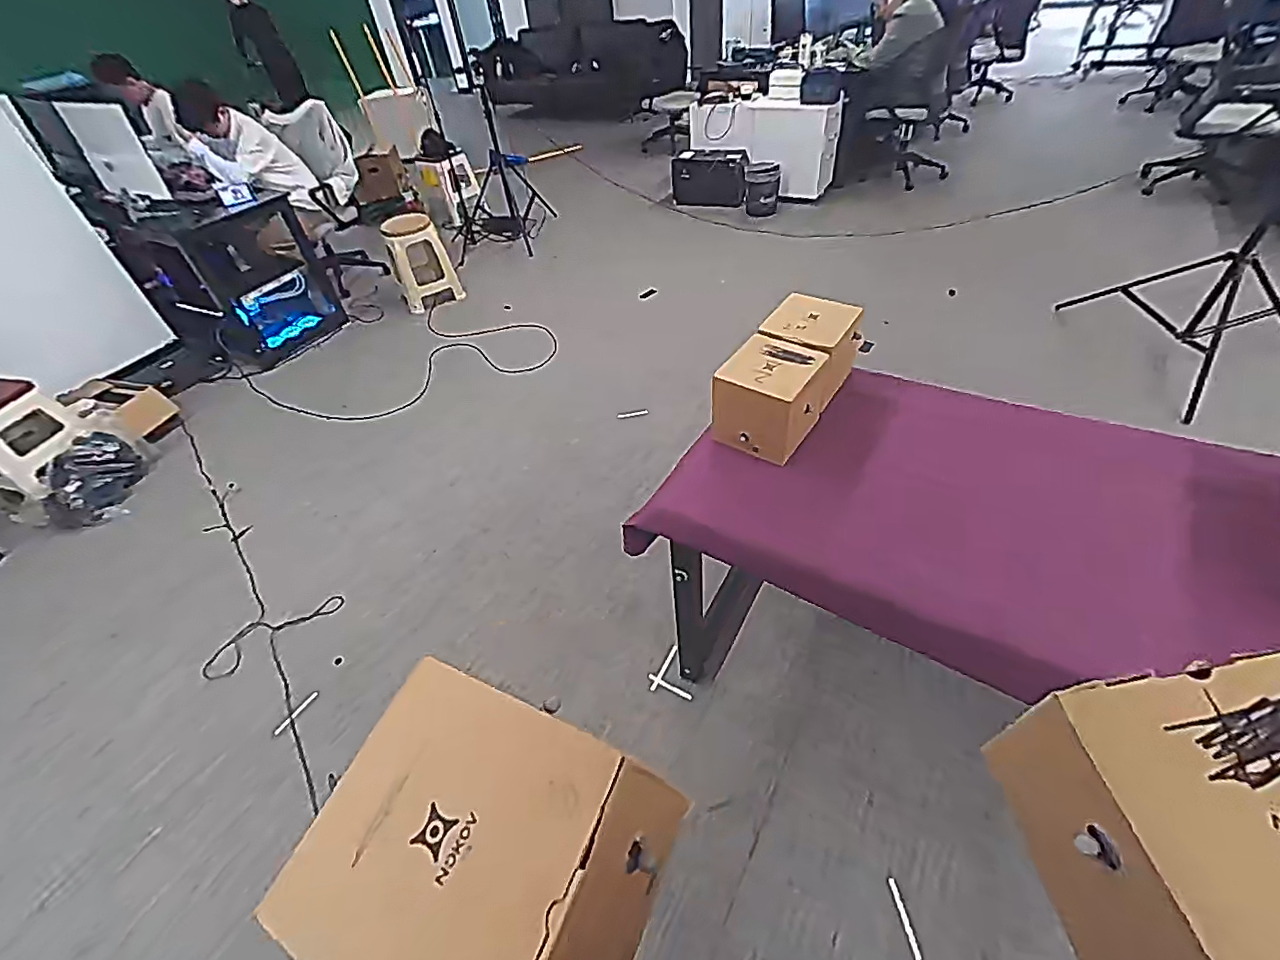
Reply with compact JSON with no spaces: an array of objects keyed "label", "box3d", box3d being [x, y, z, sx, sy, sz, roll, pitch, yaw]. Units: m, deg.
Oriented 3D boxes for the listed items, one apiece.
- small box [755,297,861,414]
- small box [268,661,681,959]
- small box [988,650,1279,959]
[{"label":"small box","box3d":[0.367,-0.279,1.206,0.168,0.176,0.179,24,53,27]},{"label":"small box","box3d":[-0.088,0.255,0.373,0.179,0.176,0.168,11,57,28]},{"label":"small box","box3d":[0.356,0.227,0.332,0.168,0.176,0.179,-13,51,5]}]
